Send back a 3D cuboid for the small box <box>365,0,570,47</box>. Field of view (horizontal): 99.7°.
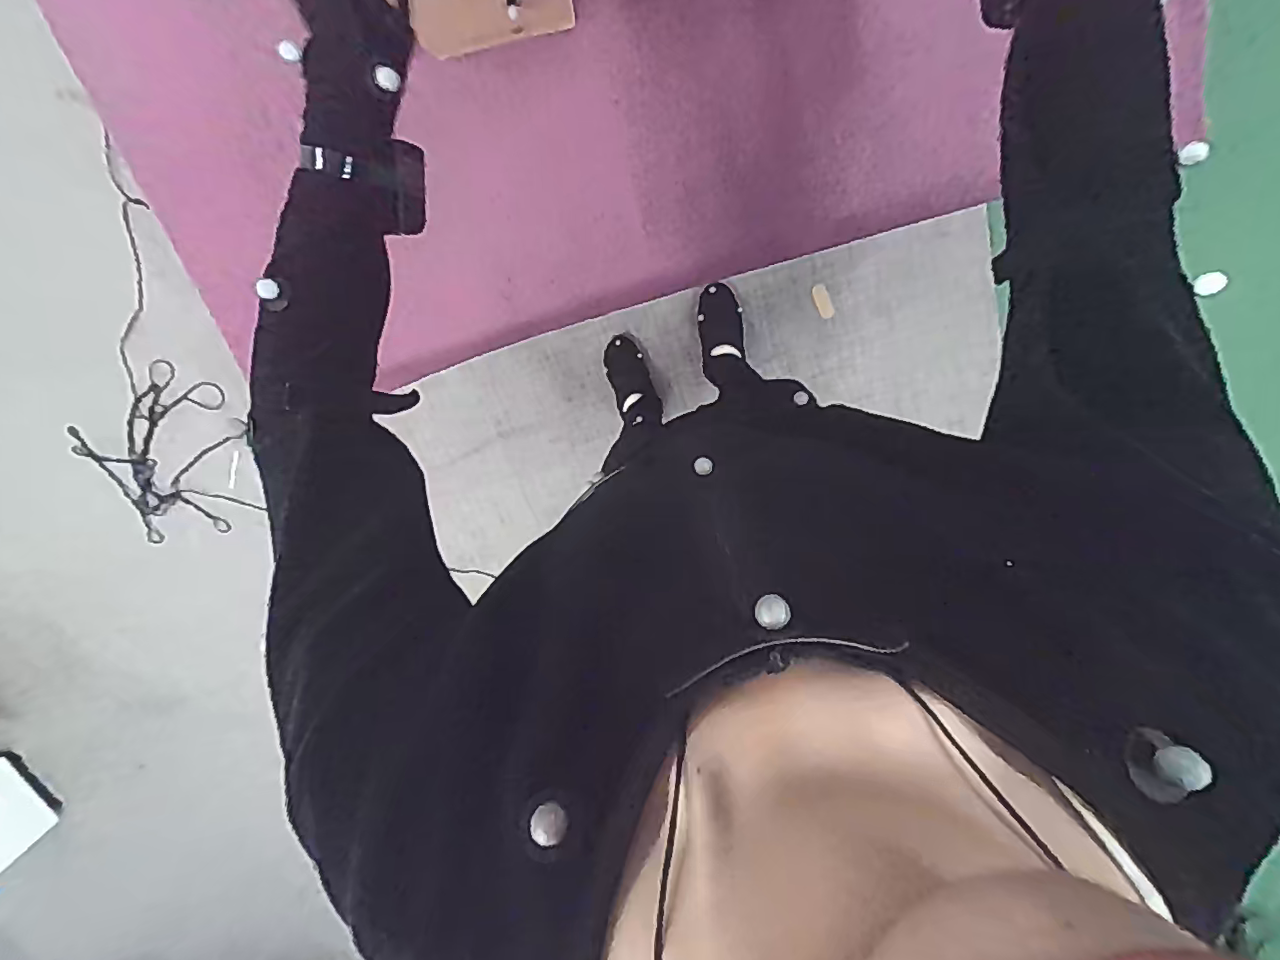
[{"bbox_3d":[-0.171,-0.538,0.500,0.168,0.176,0.179,-6,110,8],"label":"small box"}]
